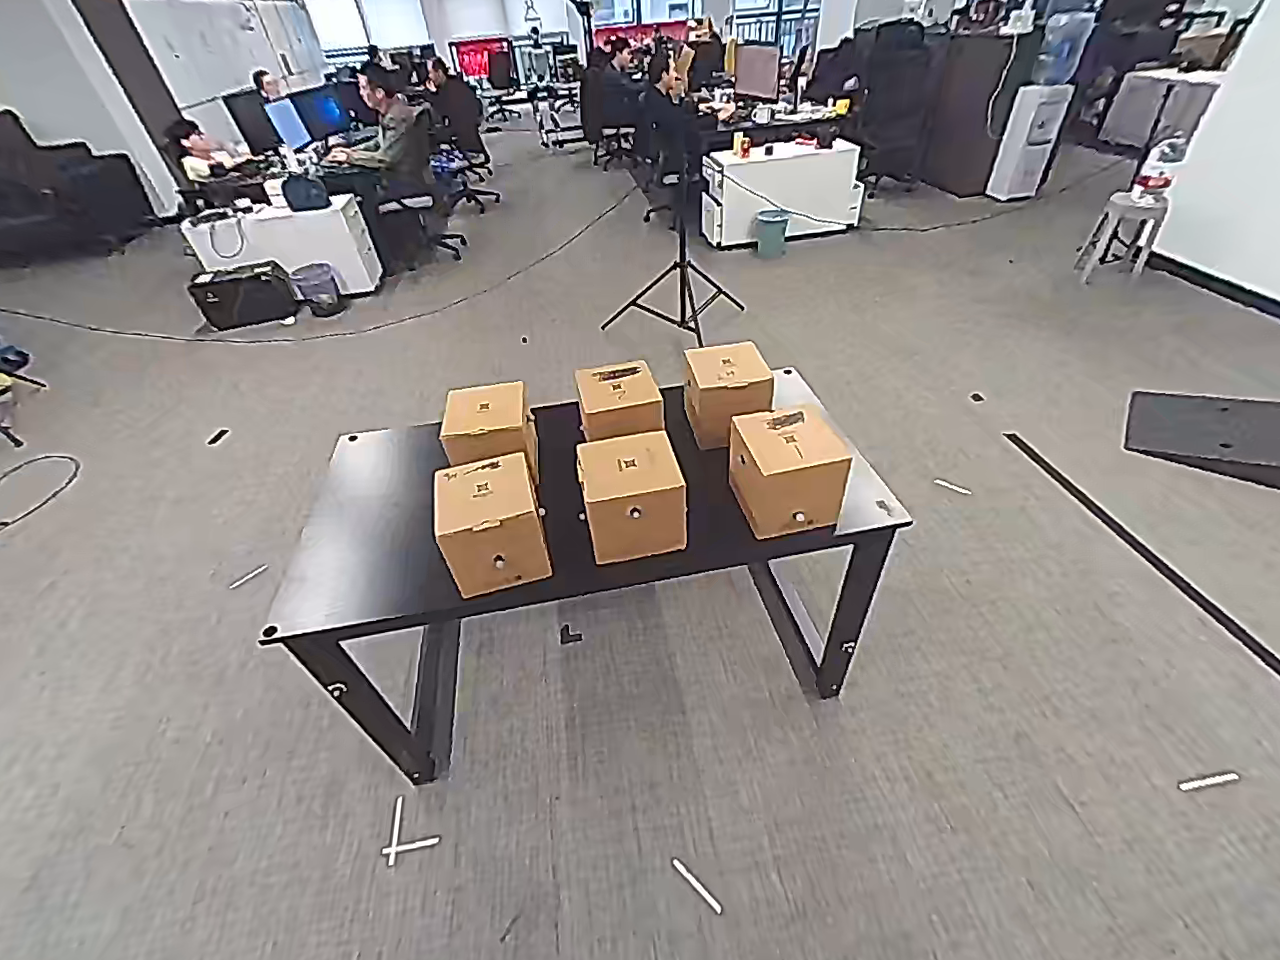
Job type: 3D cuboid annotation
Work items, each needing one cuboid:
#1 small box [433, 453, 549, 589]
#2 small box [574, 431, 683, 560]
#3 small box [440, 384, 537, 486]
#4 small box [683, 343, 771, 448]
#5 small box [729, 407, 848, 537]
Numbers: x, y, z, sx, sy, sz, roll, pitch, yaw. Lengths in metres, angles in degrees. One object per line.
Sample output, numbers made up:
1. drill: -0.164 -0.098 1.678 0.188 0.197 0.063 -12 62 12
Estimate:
1. small box: -0.273 0.081 0.999 0.168 0.176 0.179 -13 42 -10
2. small box: -0.021 0.033 1.029 0.179 0.176 0.168 -10 42 -6
3. small box: -0.327 -0.090 1.201 0.168 0.176 0.179 -9 42 -4
4. small box: 0.195 -0.196 1.262 0.168 0.176 0.179 -9 41 -3
5. small box: 0.274 -0.016 1.048 0.168 0.176 0.179 -11 42 -5
